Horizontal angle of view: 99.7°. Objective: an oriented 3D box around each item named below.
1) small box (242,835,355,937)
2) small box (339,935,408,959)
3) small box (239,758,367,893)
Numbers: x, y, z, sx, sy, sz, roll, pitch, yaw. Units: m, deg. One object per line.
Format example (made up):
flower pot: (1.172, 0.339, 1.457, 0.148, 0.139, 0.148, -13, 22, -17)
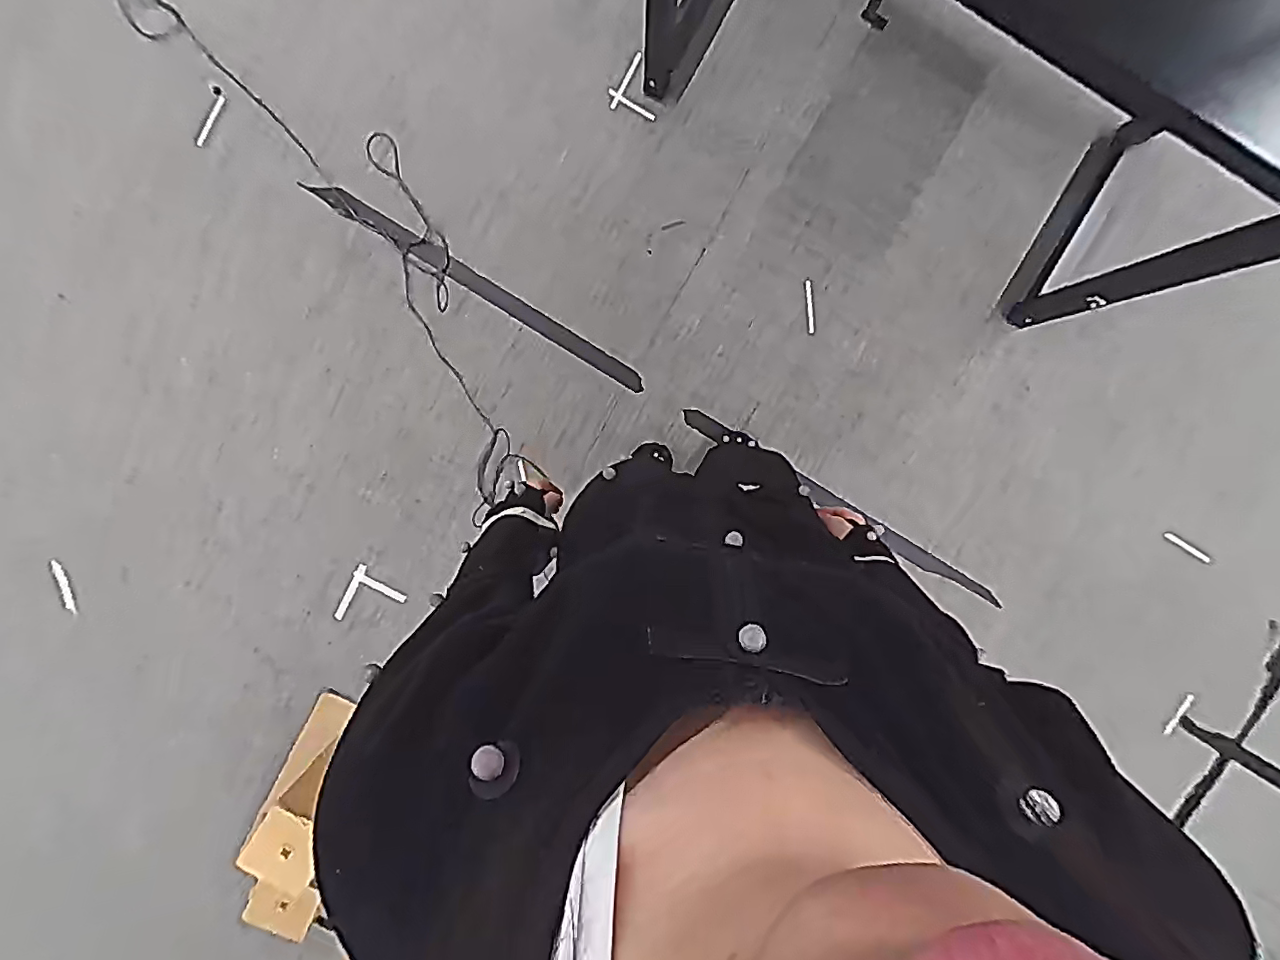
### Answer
small box: (-0.936, 1.091, 1.496, 0.179, 0.176, 0.168, 25, 95, -4)
small box: (-0.615, 1.155, 1.174, 0.179, 0.176, 0.168, 36, 94, -4)
small box: (-0.802, 0.825, 1.307, 0.168, 0.176, 0.179, 33, 93, -4)
